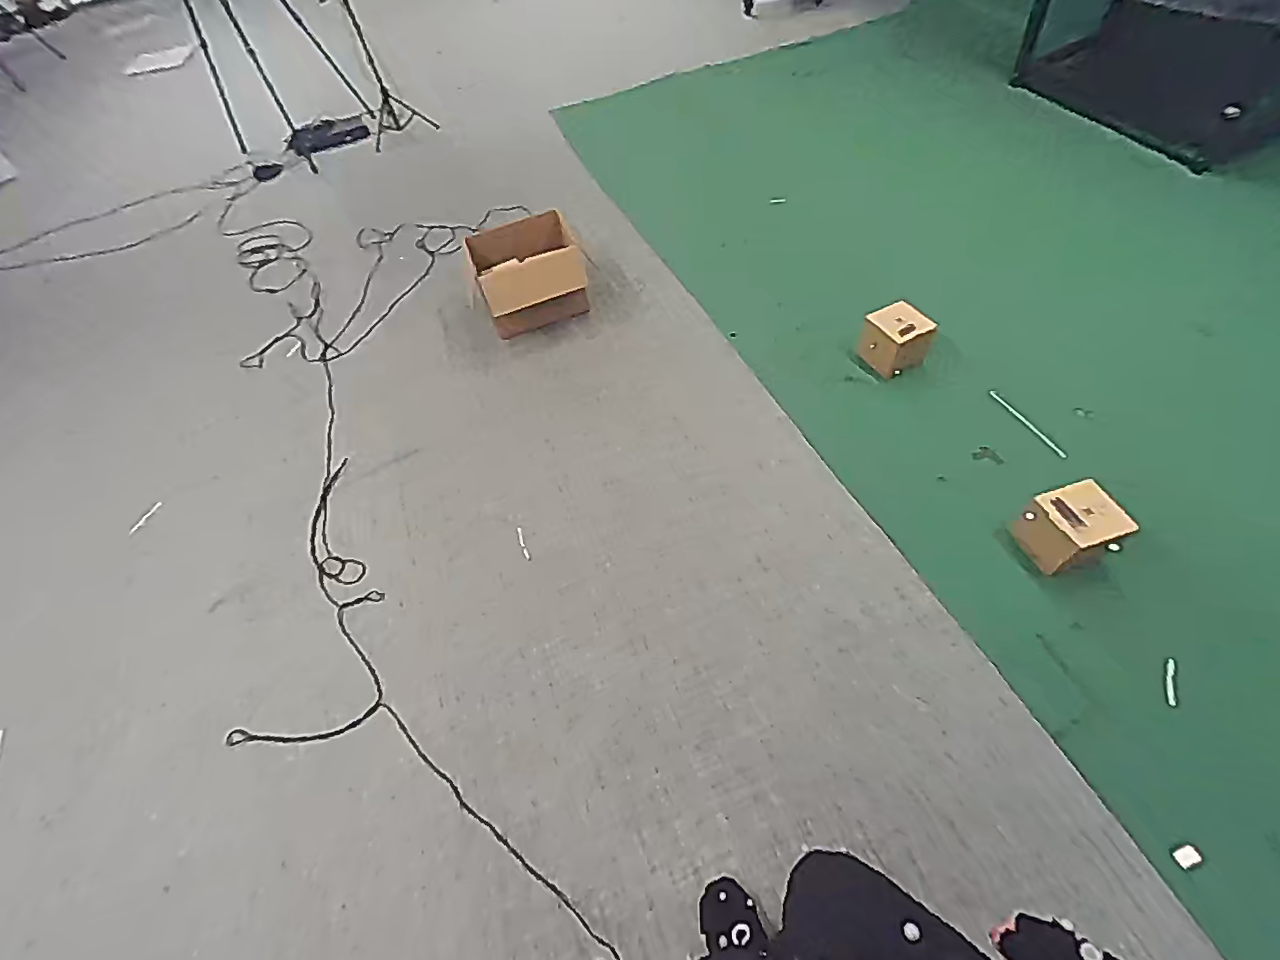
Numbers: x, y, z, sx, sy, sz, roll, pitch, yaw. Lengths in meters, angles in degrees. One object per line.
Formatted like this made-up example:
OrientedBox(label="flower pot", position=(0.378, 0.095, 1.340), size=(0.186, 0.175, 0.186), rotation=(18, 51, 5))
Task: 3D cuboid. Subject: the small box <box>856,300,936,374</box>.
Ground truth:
OrientedBox(label="small box", position=(0.903, -0.501, 1.924), size=(0.168, 0.176, 0.179), rotation=(-24, 55, -10))
